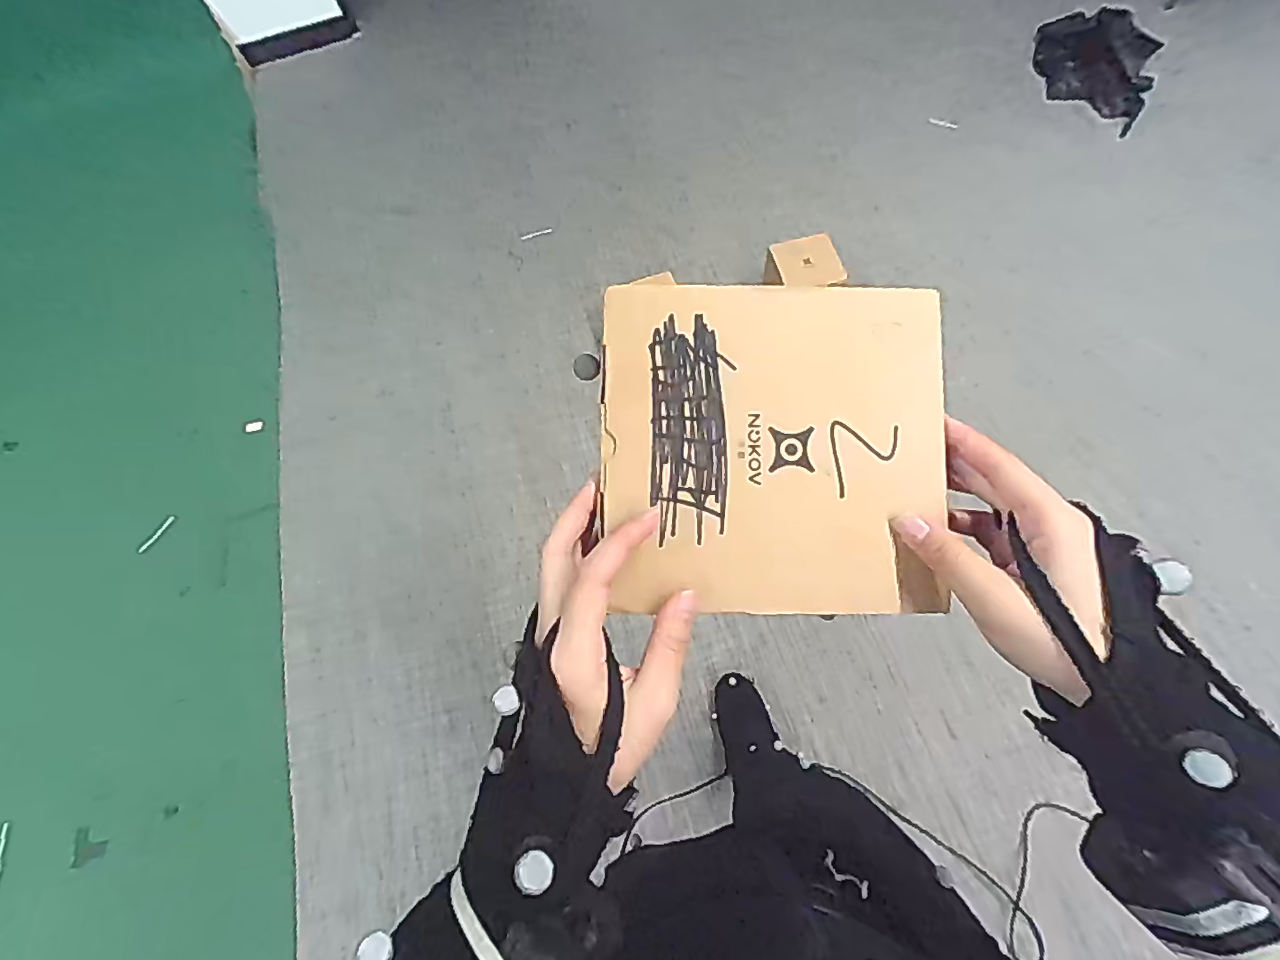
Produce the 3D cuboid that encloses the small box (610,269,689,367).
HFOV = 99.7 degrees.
[{"bbox_3d":[0.029,-0.442,1.494,0.179,0.176,0.168,-17,67,-2],"label":"small box"}]

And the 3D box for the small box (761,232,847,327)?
[{"bbox_3d":[0.447,-0.546,1.503,0.168,0.176,0.179,-13,66,-2],"label":"small box"}]
